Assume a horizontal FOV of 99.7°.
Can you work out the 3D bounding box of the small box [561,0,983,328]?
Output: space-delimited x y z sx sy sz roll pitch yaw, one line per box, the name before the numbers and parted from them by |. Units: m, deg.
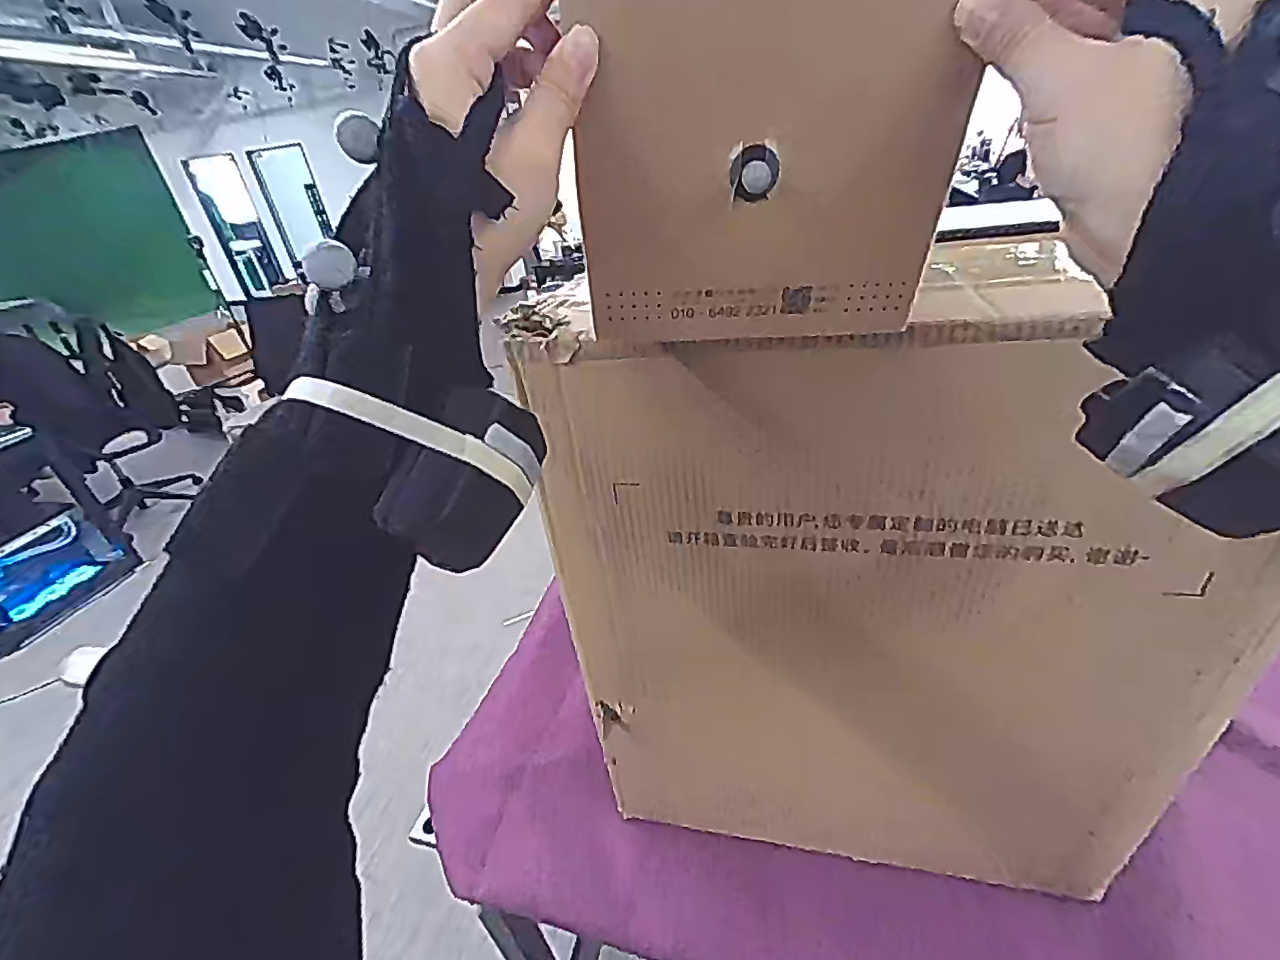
small box | 0.057 -0.194 0.298 0.168 0.176 0.179 -1 42 2
